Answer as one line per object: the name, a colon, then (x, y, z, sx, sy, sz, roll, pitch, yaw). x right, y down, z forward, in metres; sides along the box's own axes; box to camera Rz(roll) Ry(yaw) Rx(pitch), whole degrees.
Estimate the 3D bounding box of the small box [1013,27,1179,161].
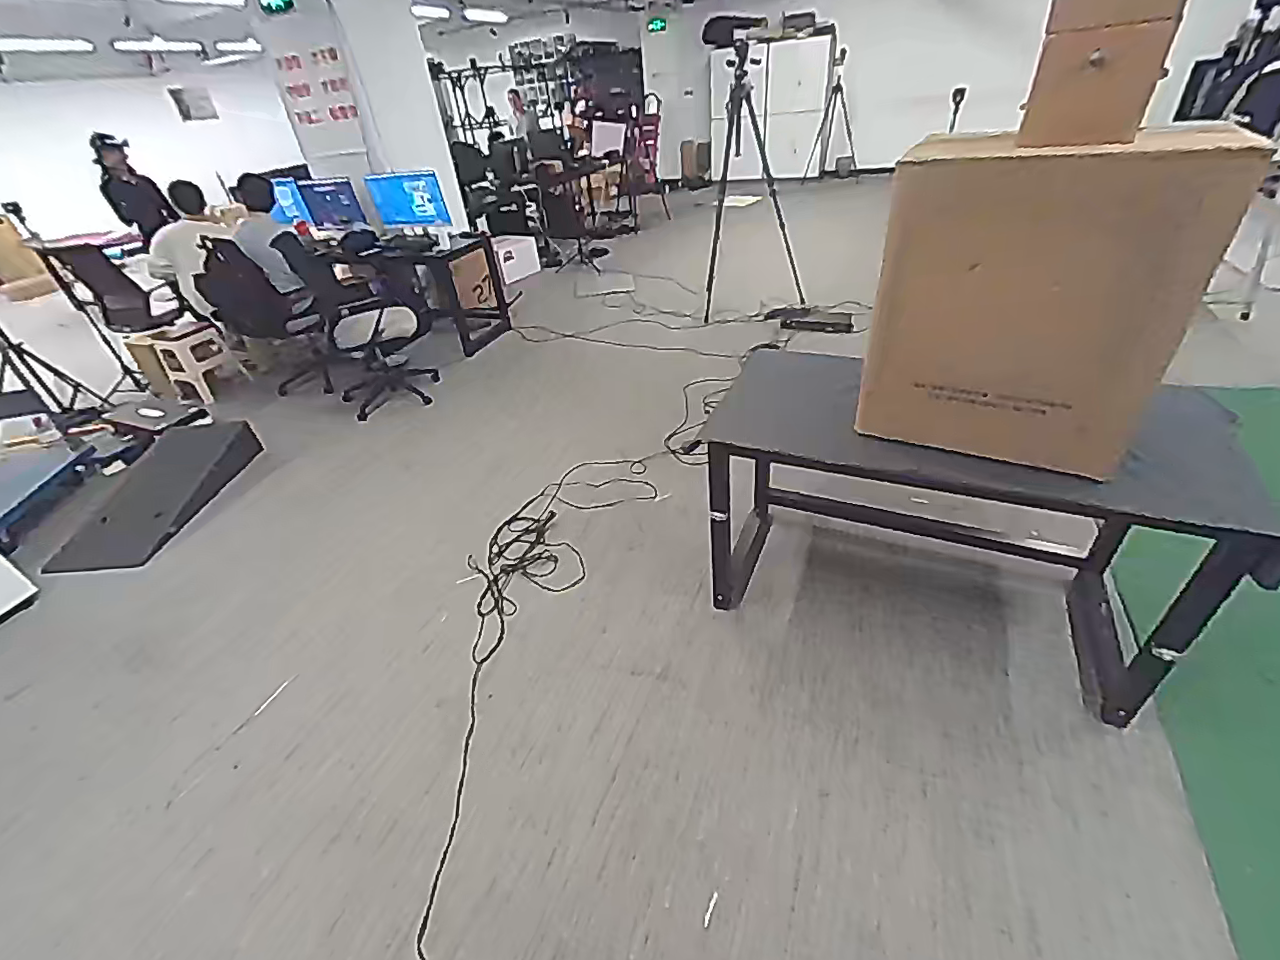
small box: (0.793, -0.677, 0.957, 0.179, 0.176, 0.168, 15, 43, 28)
